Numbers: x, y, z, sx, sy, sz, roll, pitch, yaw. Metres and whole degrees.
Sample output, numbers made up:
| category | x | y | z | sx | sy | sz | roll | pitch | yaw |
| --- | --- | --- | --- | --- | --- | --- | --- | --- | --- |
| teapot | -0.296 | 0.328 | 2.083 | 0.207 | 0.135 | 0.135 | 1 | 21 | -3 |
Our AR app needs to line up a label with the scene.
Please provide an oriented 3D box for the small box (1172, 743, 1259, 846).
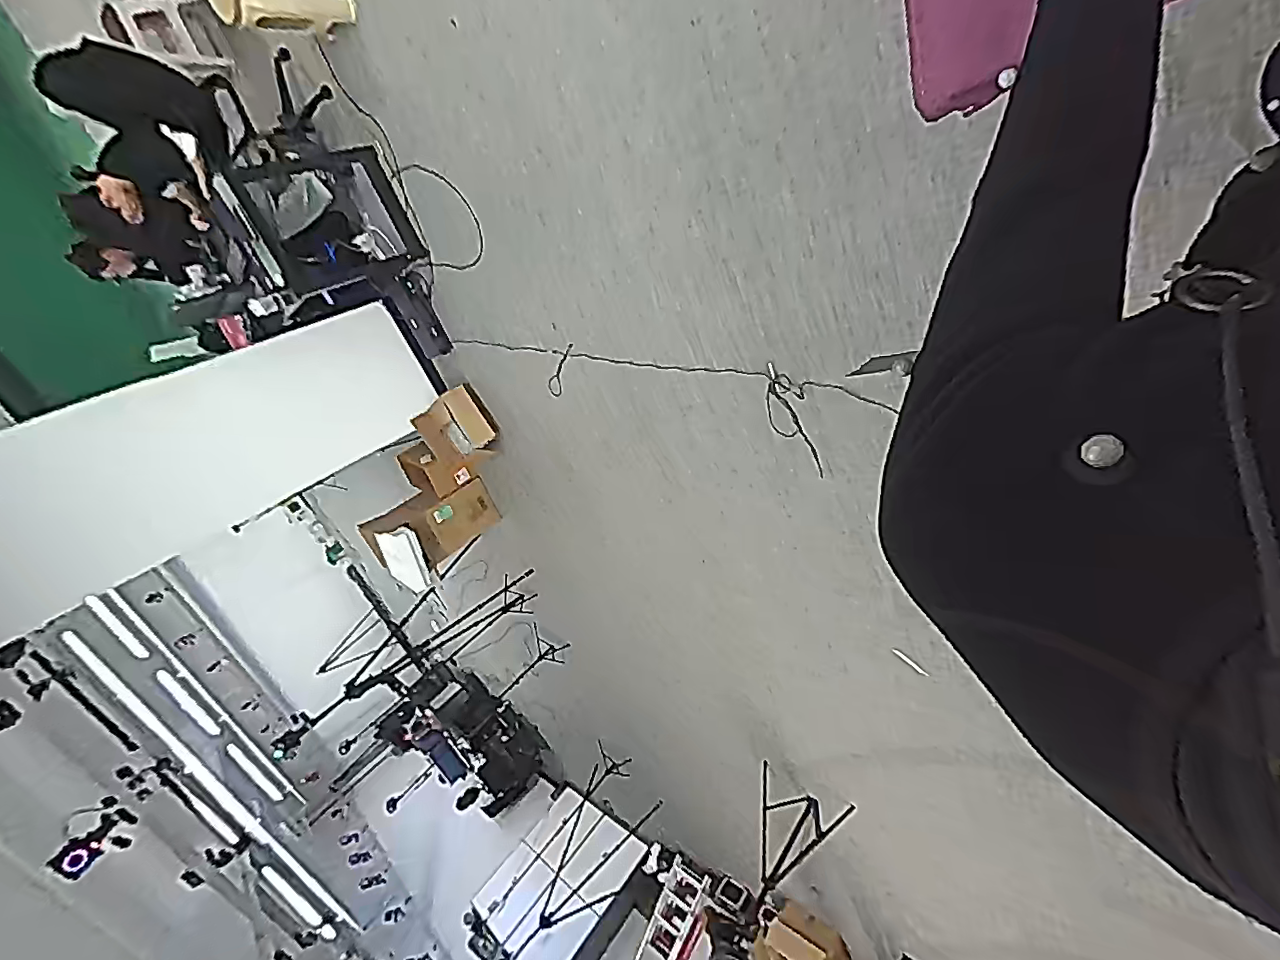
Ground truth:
| category | x | y | z | sx | sy | sz | roll | pitch | yaw |
| --- | --- | --- | --- | --- | --- | --- | --- | --- | --- |
| small box | 1.710 | 0.927 | 1.610 | 0.168 | 0.176 | 0.179 | 5 | 126 | 47 |
